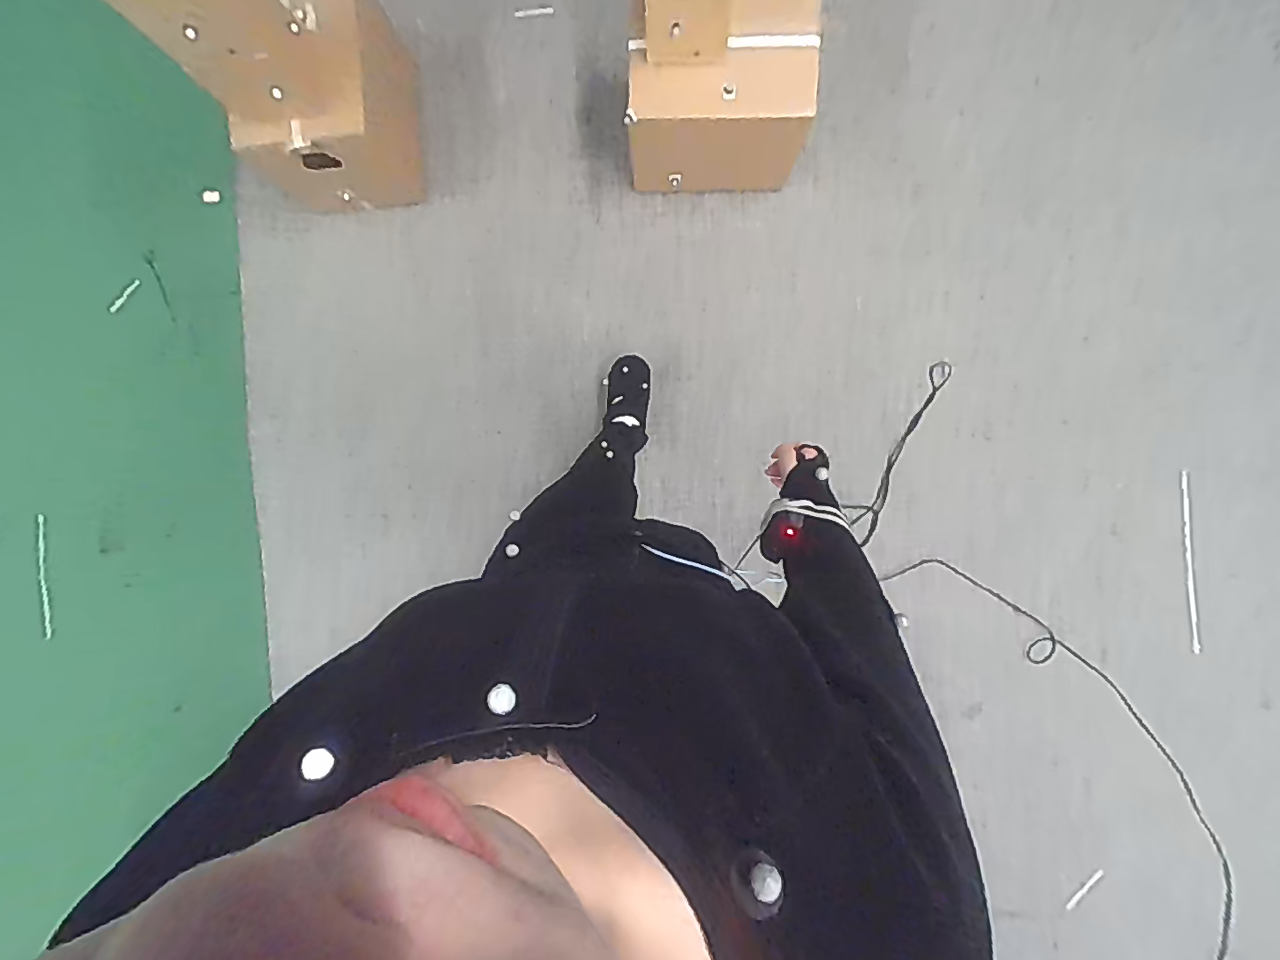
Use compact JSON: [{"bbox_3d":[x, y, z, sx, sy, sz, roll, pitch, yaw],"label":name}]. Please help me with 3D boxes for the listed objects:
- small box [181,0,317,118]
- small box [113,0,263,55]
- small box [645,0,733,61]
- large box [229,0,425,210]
[{"bbox_3d":[-0.789,-0.880,1.103,0.179,0.176,0.168,-6,90,3],"label":"small box"},{"bbox_3d":[-0.796,-0.885,0.939,0.168,0.176,0.179,-10,89,2],"label":"small box"},{"bbox_3d":[0.098,-0.967,1.062,0.168,0.176,0.179,2,89,2],"label":"small box"},{"bbox_3d":[-0.766,-0.956,1.344,0.320,0.320,0.408,-5,90,3],"label":"large box"}]
